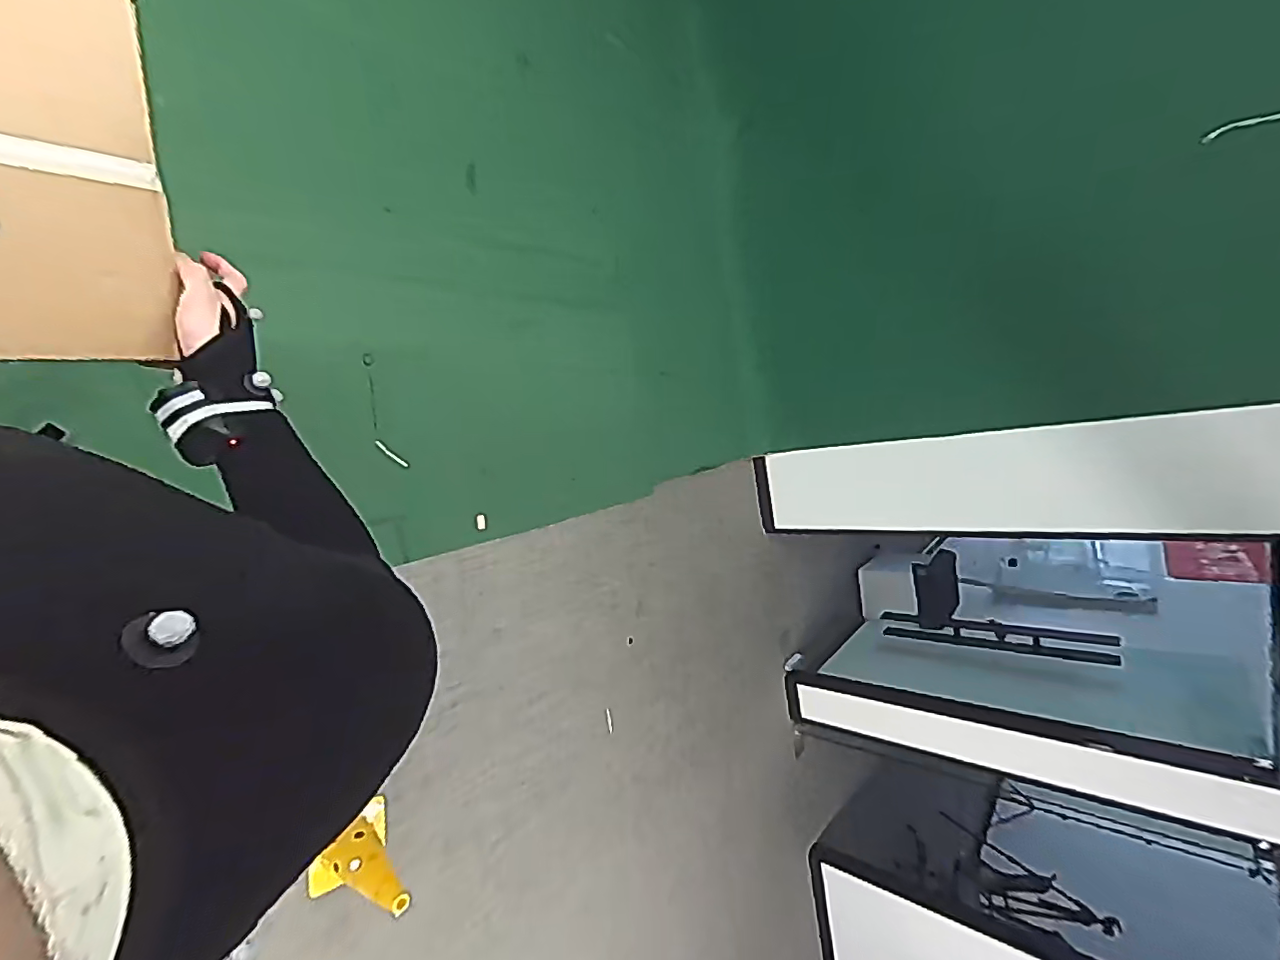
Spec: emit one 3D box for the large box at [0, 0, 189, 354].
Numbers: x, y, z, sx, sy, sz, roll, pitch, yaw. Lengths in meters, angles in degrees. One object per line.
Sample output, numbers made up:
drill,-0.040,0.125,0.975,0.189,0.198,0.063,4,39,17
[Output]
large box,-0.673,-0.268,0.427,0.408,0.320,0.320,-15,115,-49
